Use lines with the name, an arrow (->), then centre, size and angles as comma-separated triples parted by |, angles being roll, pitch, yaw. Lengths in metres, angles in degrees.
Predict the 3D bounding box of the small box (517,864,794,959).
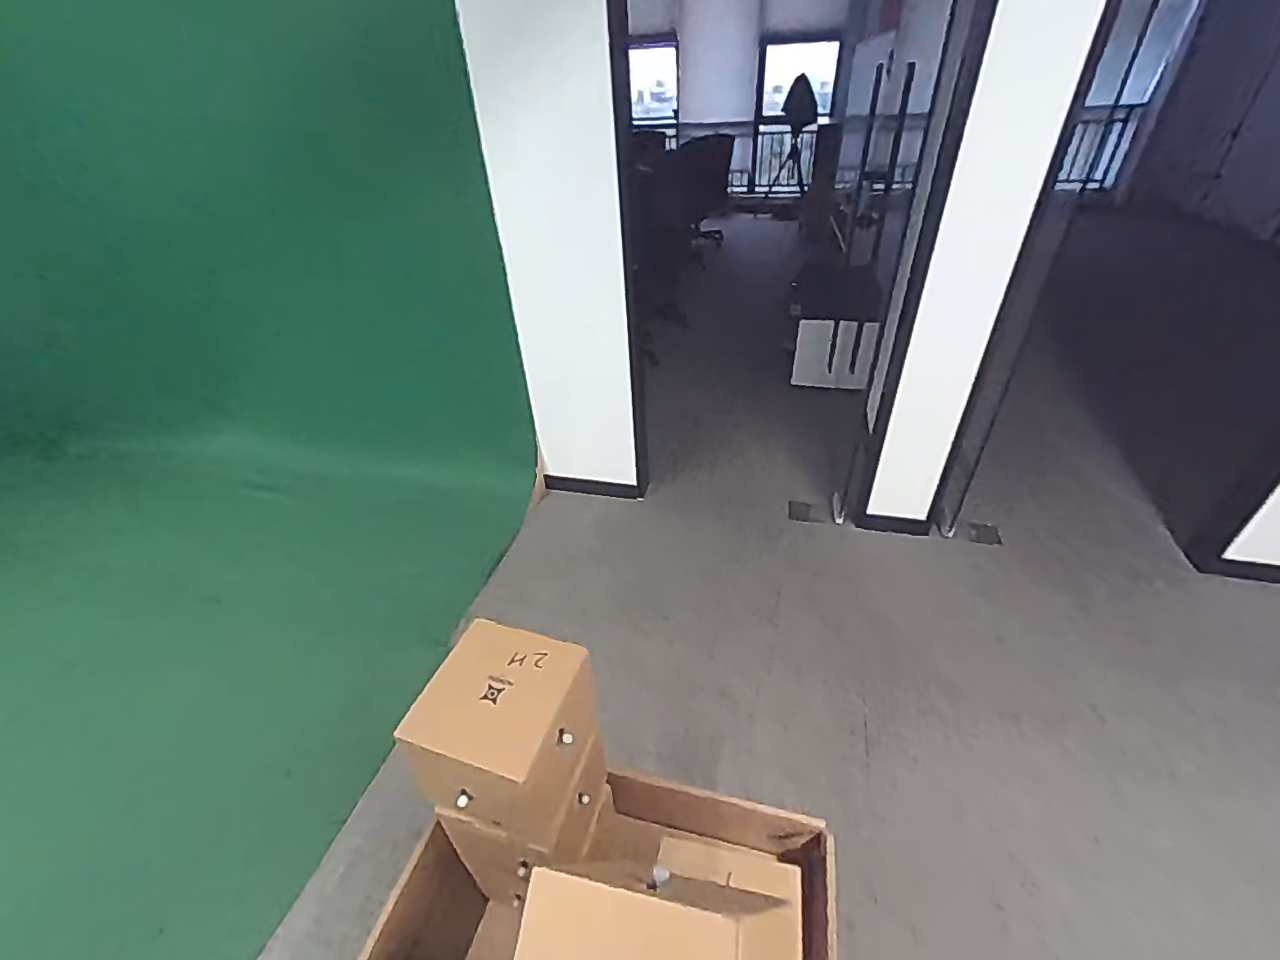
small box -> 0.013, 0.419, 0.422 | 0.179, 0.176, 0.168 | -5, 57, 26

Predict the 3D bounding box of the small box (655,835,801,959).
small box -> 0.090, 0.554, 0.620 | 0.168, 0.176, 0.179 | 6, 37, 12

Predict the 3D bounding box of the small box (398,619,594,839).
small box -> -0.165, 0.315, 0.690 | 0.168, 0.176, 0.179 | 12, 38, 16

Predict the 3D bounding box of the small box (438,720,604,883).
small box -> -0.155, 0.451, 0.782 | 0.168, 0.176, 0.179 | 10, 37, 15
